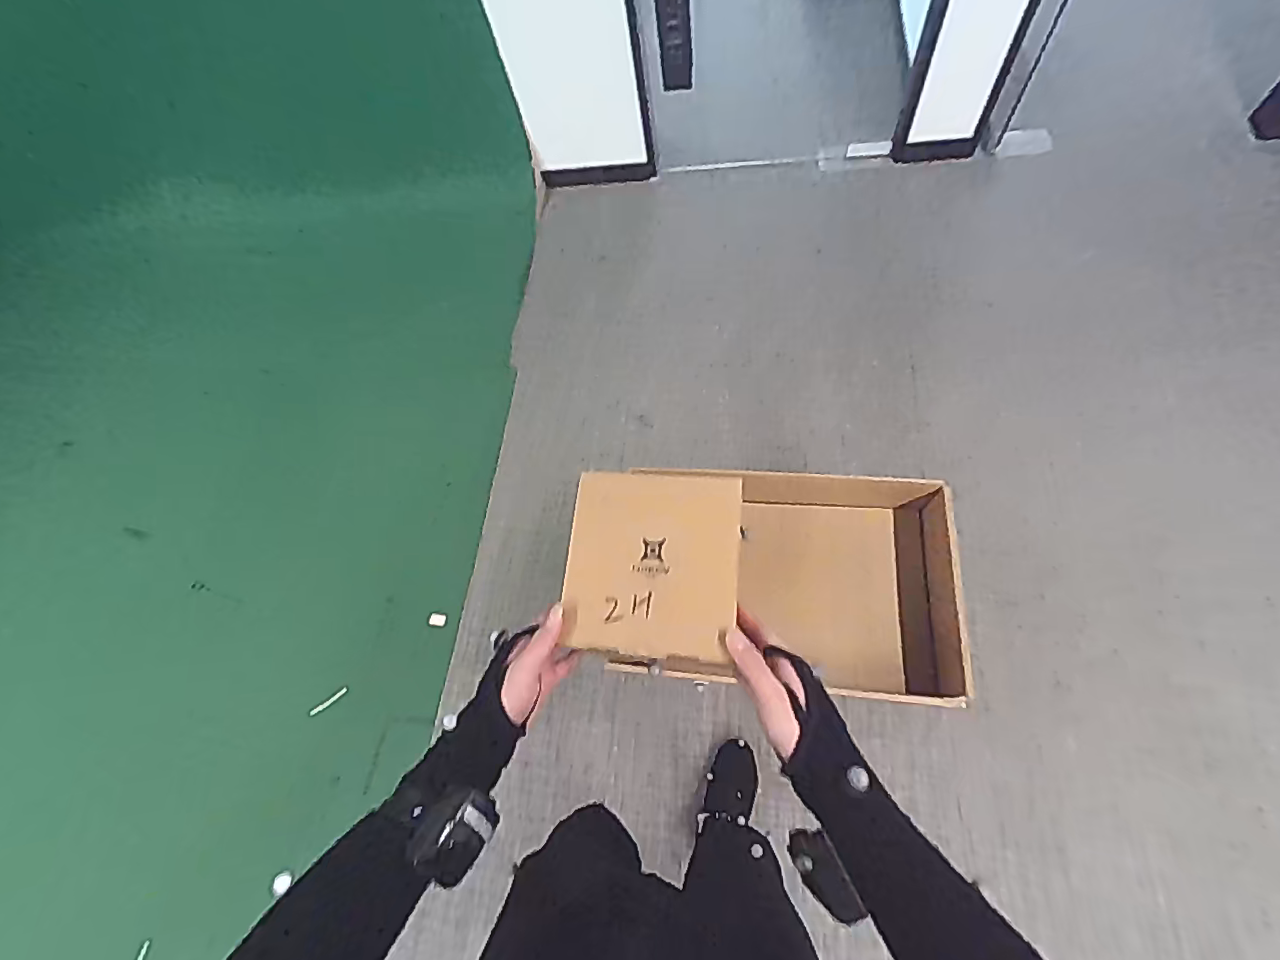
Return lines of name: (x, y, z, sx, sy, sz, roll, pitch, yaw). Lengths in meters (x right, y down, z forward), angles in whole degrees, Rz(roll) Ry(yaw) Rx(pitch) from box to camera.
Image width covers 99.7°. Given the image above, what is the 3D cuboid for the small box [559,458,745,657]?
small box: (0.024, 0.091, 0.594, 0.168, 0.176, 0.179, 3, 70, 10)
